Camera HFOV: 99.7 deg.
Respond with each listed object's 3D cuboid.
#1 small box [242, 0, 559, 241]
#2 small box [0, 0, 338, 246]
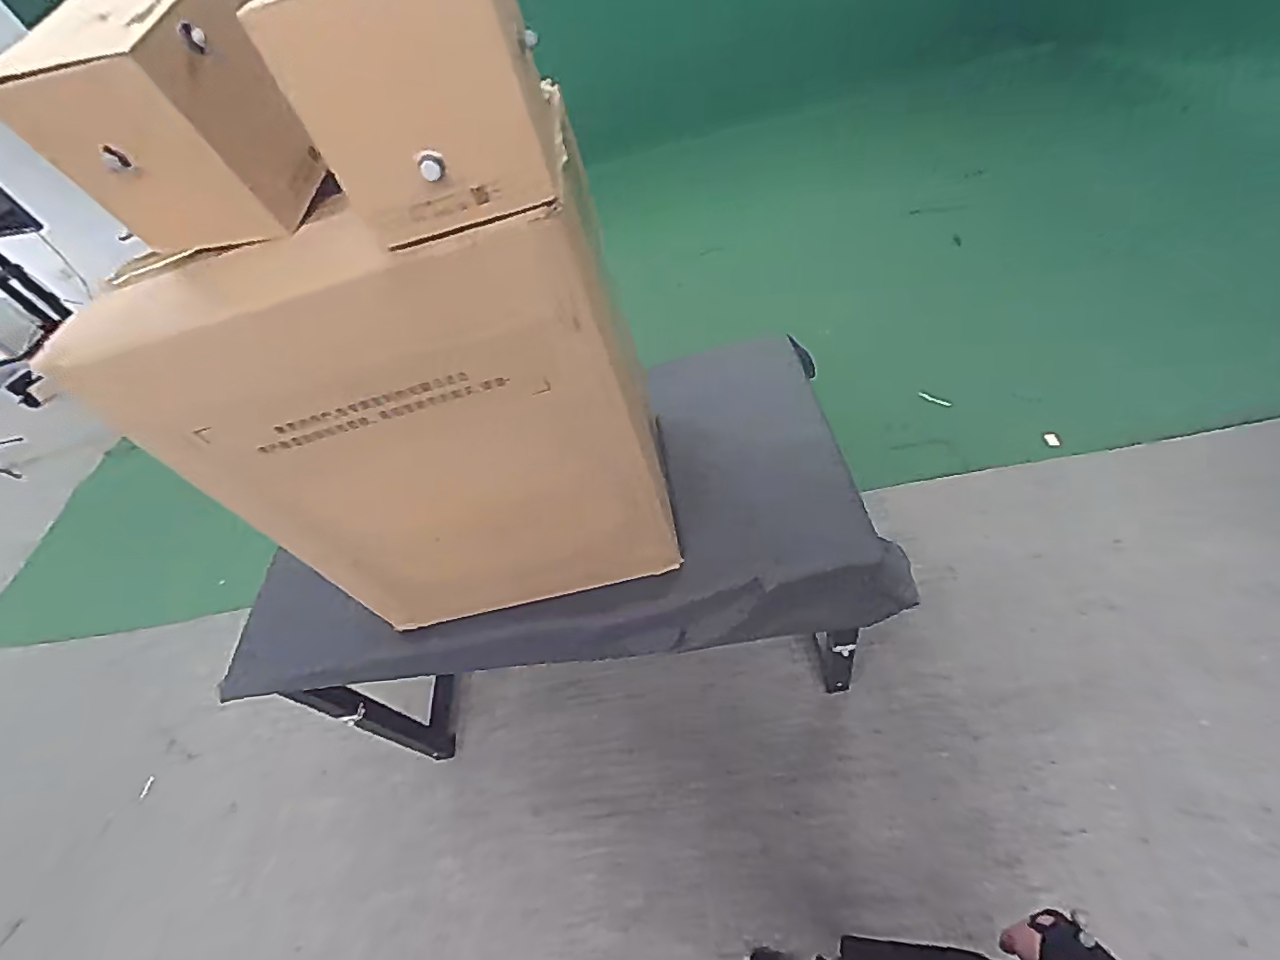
[{"bbox_3d":[-0.173,-0.335,0.459,0.168,0.176,0.179,-13,51,6],"label":"small box"},{"bbox_3d":[-0.441,-0.356,0.533,0.179,0.176,0.168,-1,64,13],"label":"small box"}]
